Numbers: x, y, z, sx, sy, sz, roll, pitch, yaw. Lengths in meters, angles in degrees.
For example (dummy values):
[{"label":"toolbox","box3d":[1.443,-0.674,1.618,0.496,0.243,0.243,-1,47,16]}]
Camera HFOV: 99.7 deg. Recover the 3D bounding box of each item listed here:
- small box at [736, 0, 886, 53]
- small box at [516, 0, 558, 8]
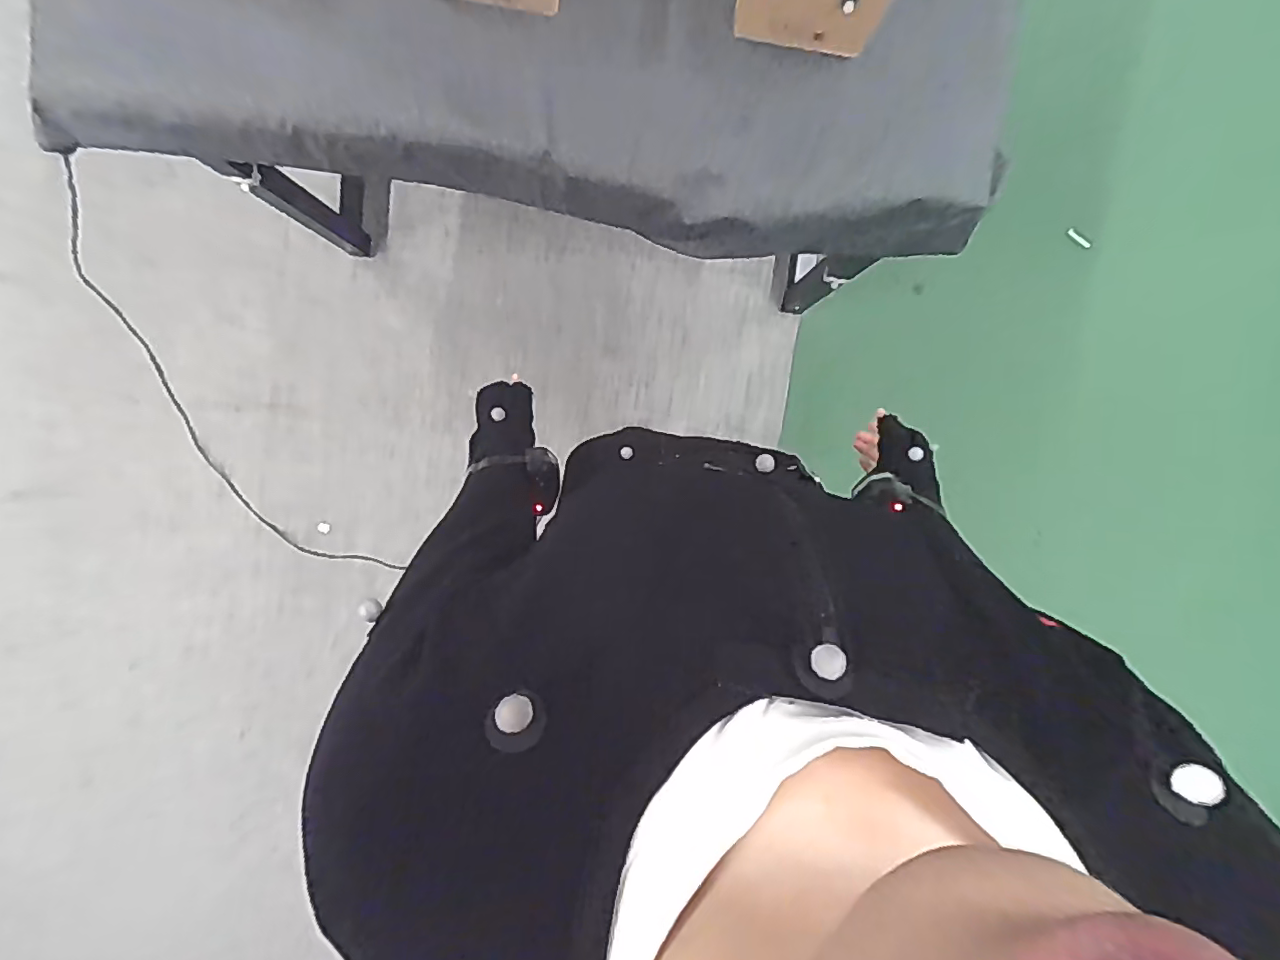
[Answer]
[{"label":"small box","box3d":[0.211,-0.626,0.599,0.168,0.176,0.179,8,94,-3]},{"label":"small box","box3d":[-0.165,-0.670,0.584,0.168,0.176,0.179,9,96,-2]}]
